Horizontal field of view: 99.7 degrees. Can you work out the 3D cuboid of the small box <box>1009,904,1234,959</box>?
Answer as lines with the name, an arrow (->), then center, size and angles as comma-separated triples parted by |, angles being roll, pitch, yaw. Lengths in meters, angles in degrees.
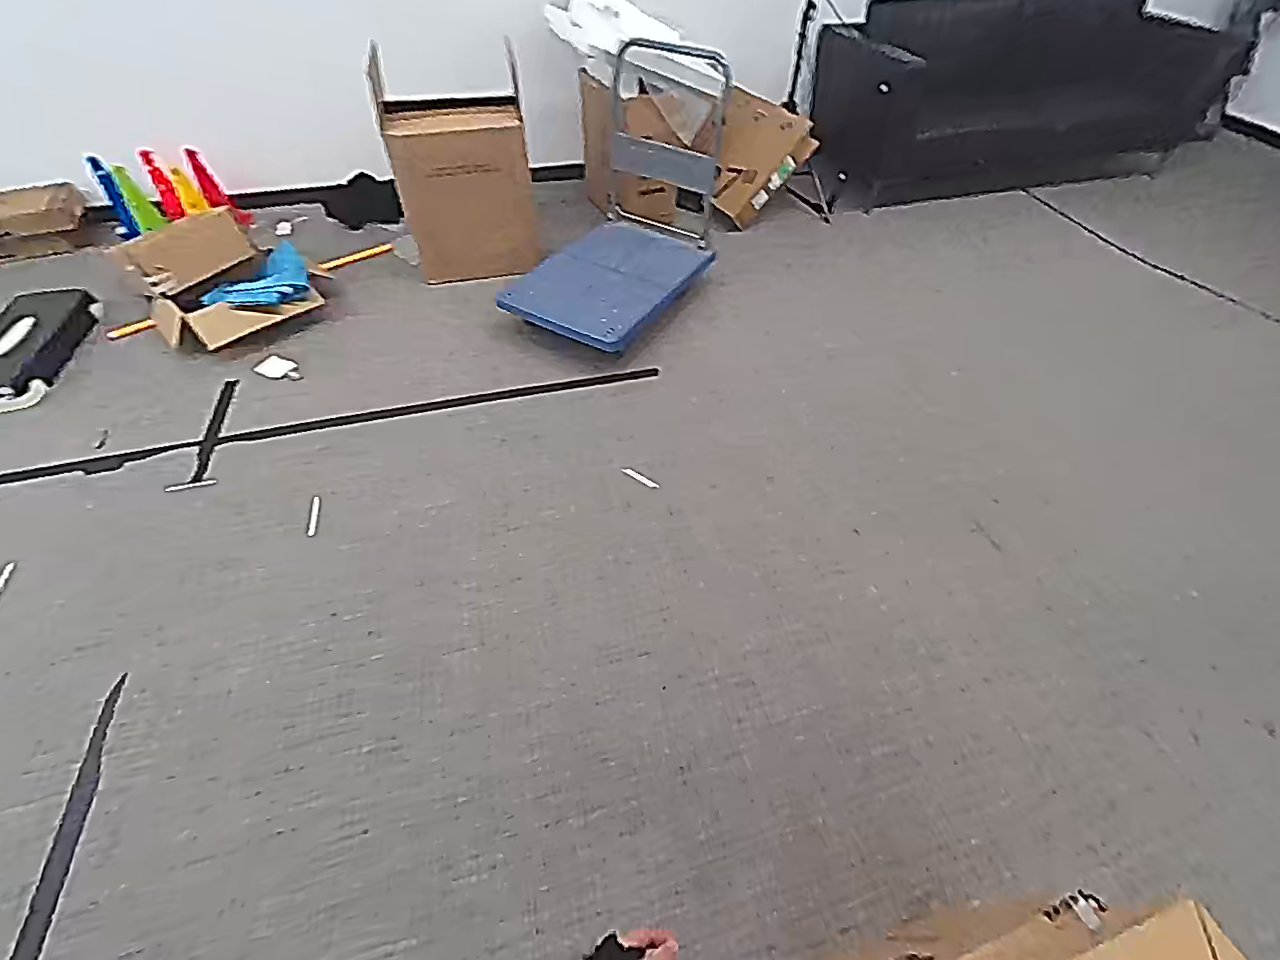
small box -> 0.527, 0.573, 0.552 | 0.168, 0.176, 0.179 | -14, 49, -11
